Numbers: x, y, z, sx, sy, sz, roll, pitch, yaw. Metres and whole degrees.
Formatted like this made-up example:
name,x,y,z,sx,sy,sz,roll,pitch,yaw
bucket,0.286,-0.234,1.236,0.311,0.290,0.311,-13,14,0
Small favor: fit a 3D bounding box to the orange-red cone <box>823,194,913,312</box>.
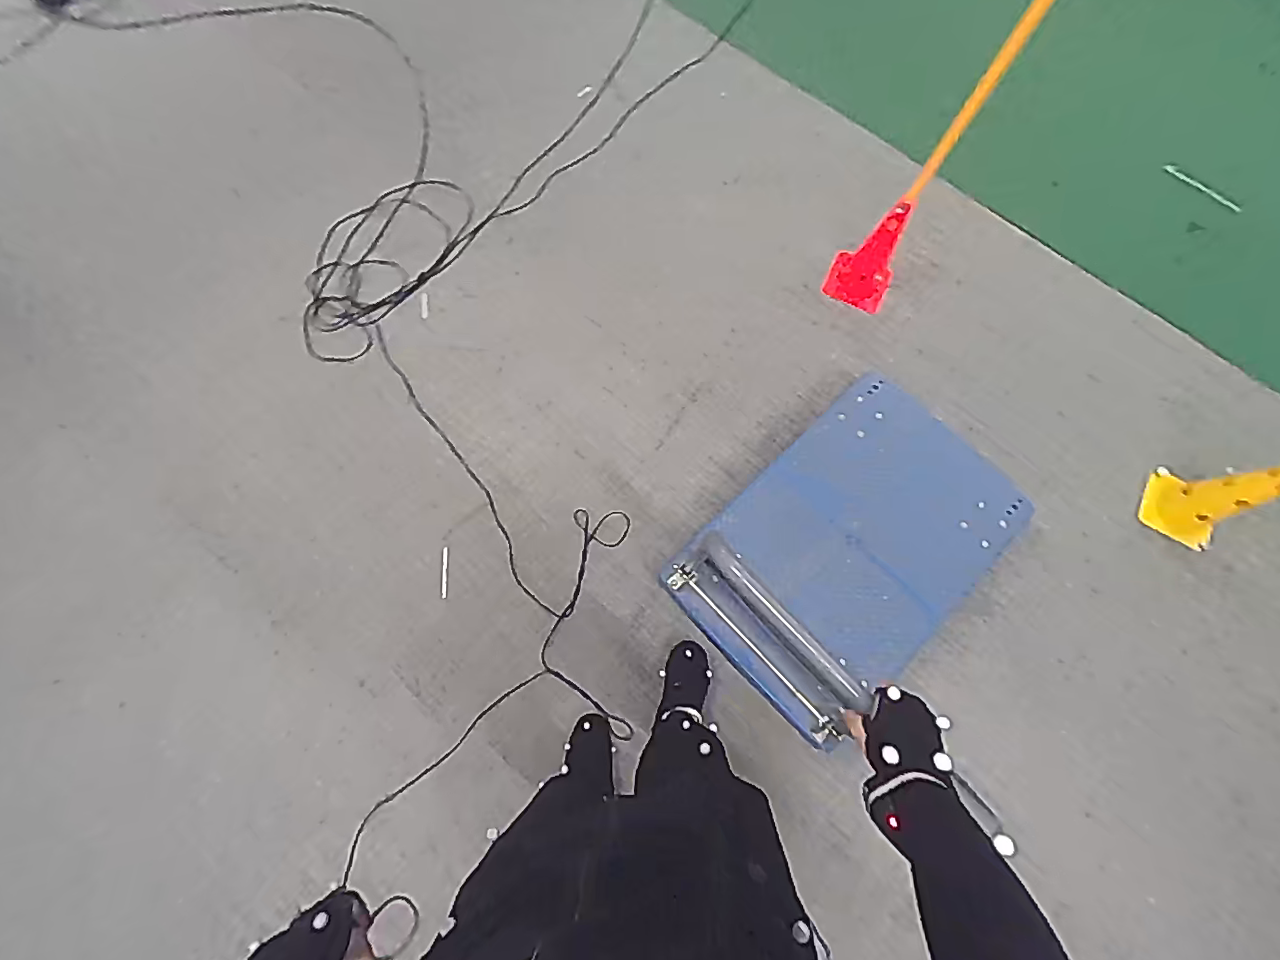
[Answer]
name,x,y,z,sx,sy,sz,roll,pitch,yaw
orange-red cone,0.741,-0.729,1.678,0.199,0.360,0.198,26,73,8
